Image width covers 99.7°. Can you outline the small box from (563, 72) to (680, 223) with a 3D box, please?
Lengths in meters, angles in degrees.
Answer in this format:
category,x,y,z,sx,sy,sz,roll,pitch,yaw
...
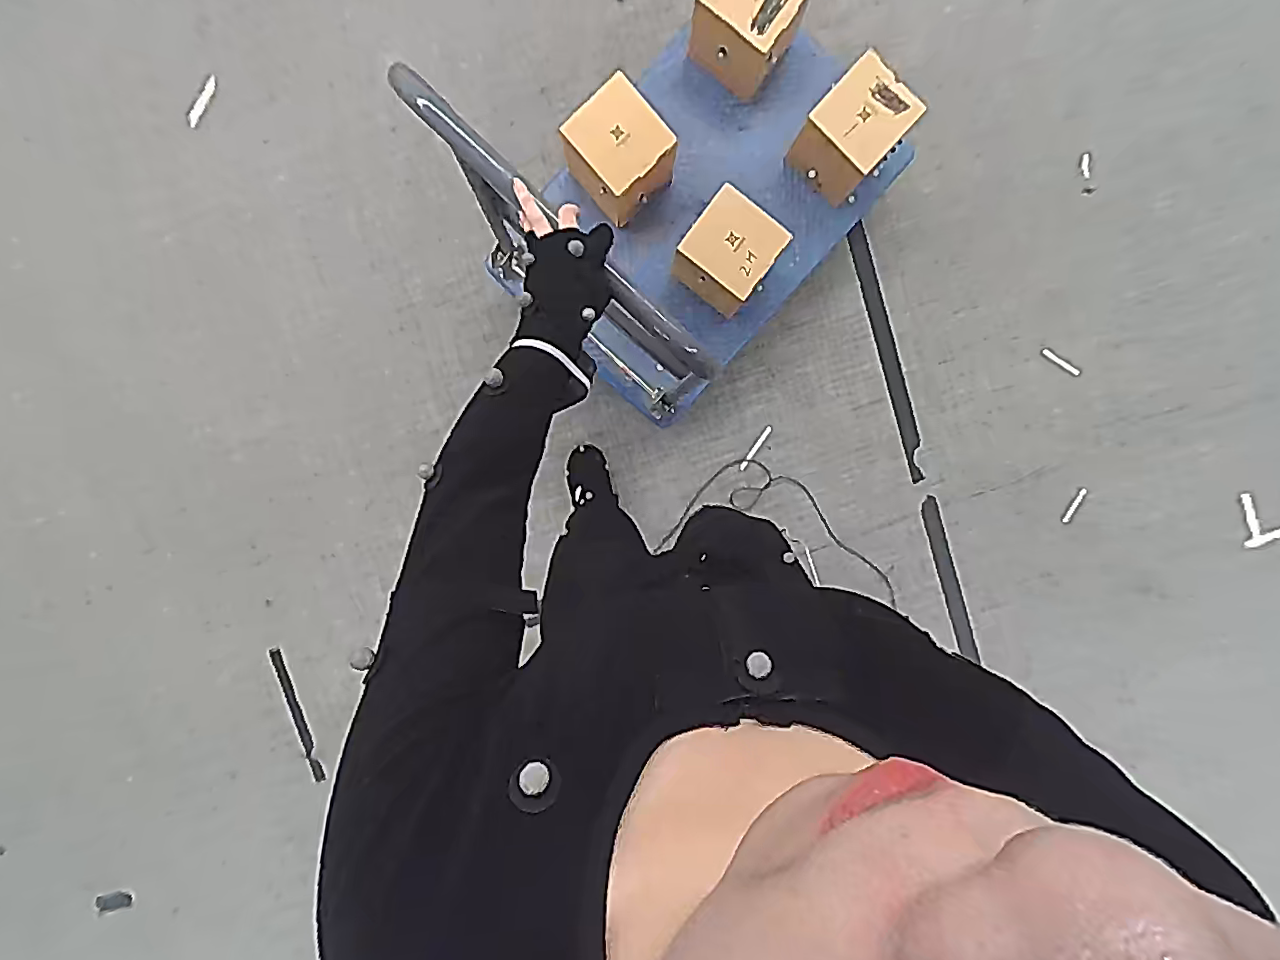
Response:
category,x,y,z,sx,sy,sz,roll,pitch,yaw
small box,-0.040,-0.686,1.140,0.168,0.176,0.179,-43,96,2

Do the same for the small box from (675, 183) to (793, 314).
category,x,y,z,sx,sy,sz,roll,pitch,yaw
small box,0.190,-0.484,1.162,0.179,0.176,0.168,38,93,-4

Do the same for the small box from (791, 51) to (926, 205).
category,x,y,z,sx,sy,sz,roll,pitch,yaw
small box,0.450,-0.732,1.146,0.168,0.176,0.179,43,94,-4
